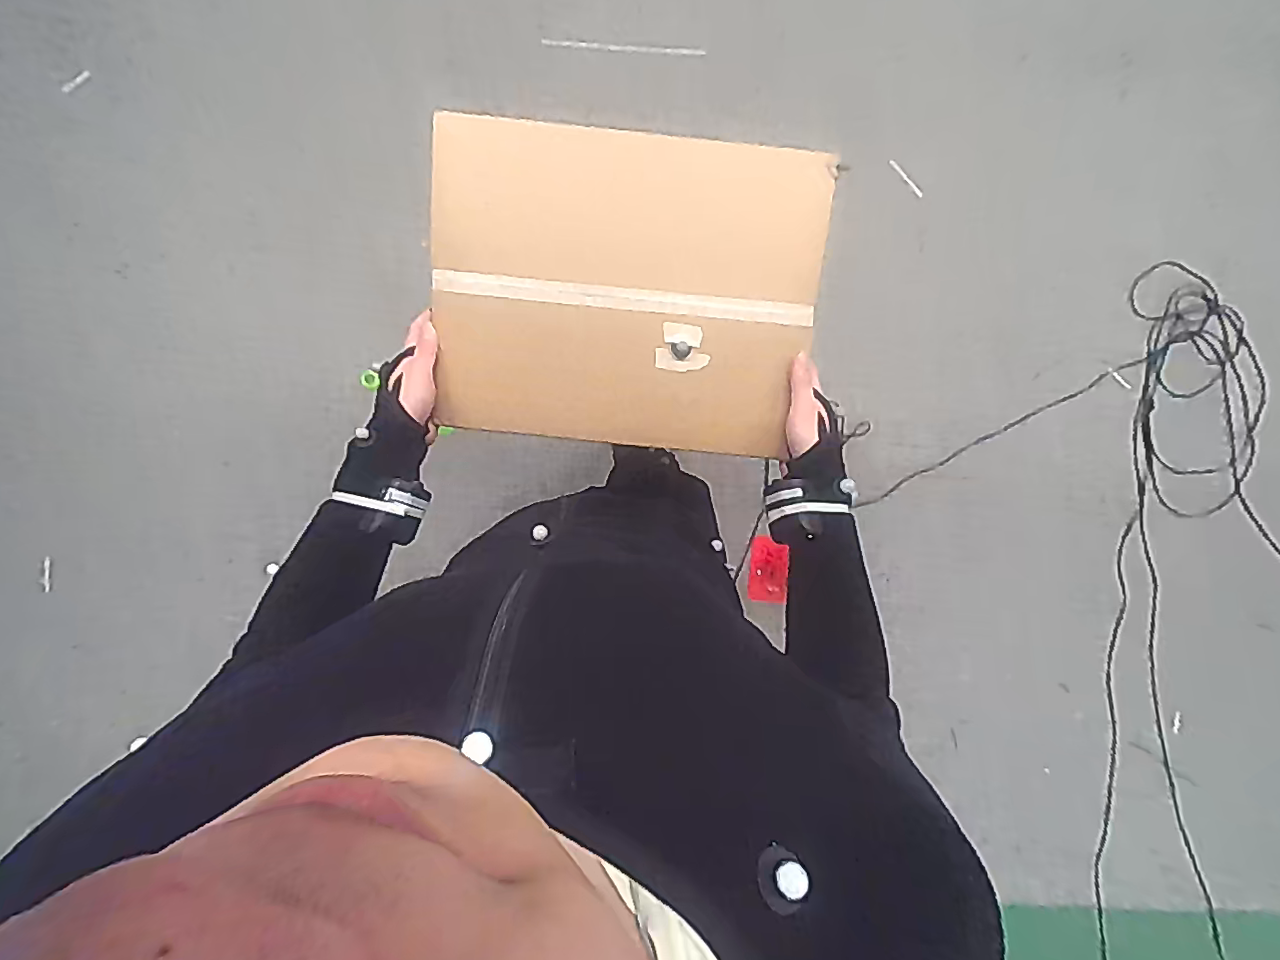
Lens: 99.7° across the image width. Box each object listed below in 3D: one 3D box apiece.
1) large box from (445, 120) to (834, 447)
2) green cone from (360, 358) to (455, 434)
[{"bbox_3d":[-0.012,-0.234,0.726,0.408,0.320,0.320,5,104,-2],"label":"large box"},{"bbox_3d":[-0.630,-0.234,1.415,0.200,0.368,0.202,9,94,-2],"label":"green cone"}]
